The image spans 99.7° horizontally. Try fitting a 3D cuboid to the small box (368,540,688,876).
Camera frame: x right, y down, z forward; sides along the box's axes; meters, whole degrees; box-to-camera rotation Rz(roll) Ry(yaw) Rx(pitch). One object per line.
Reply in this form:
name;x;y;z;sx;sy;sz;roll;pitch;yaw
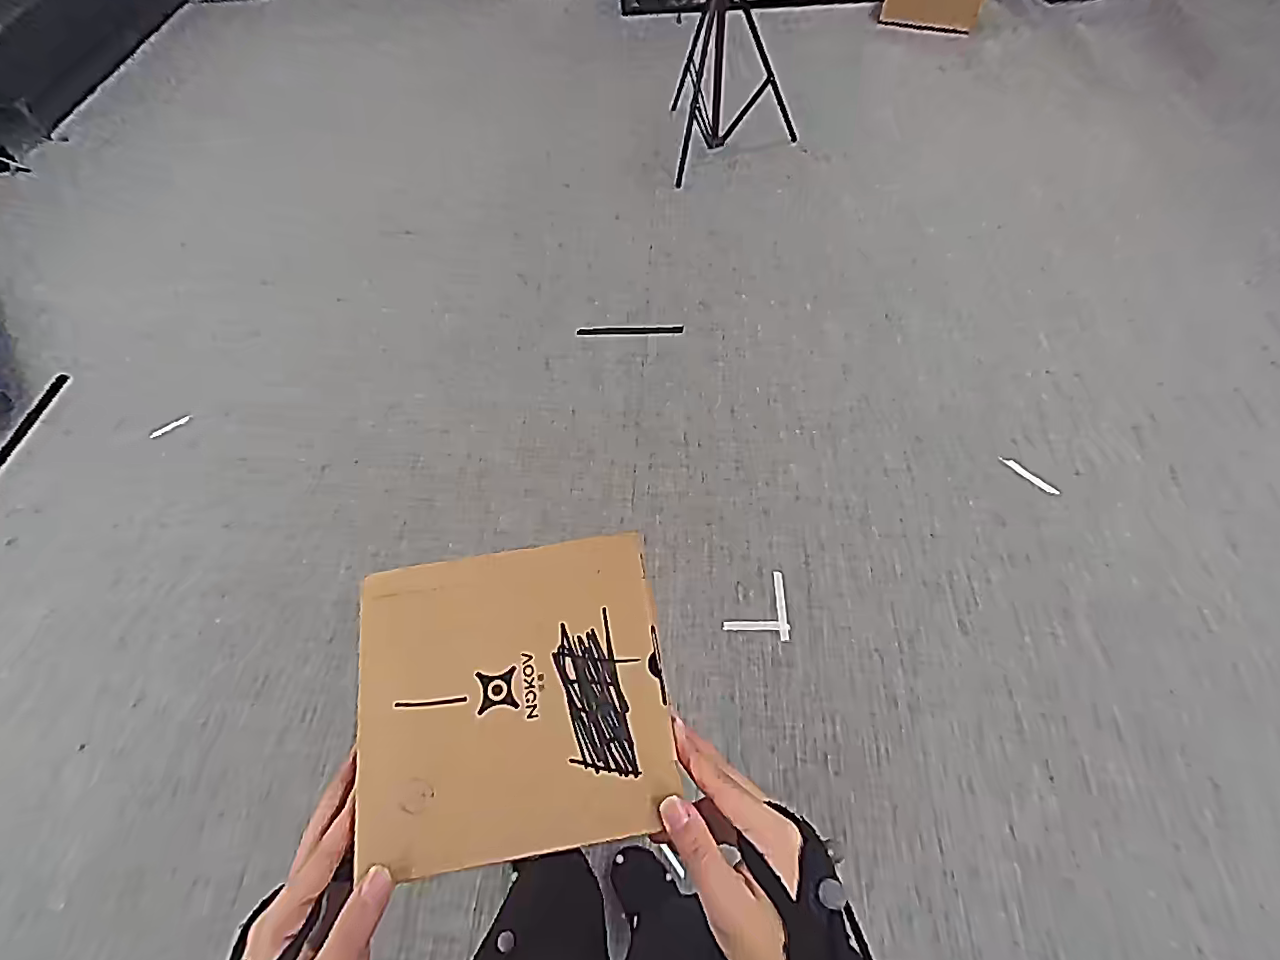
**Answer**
small box;-0.072;0.153;0.394;0.179;0.176;0.168;-8;68;-4
